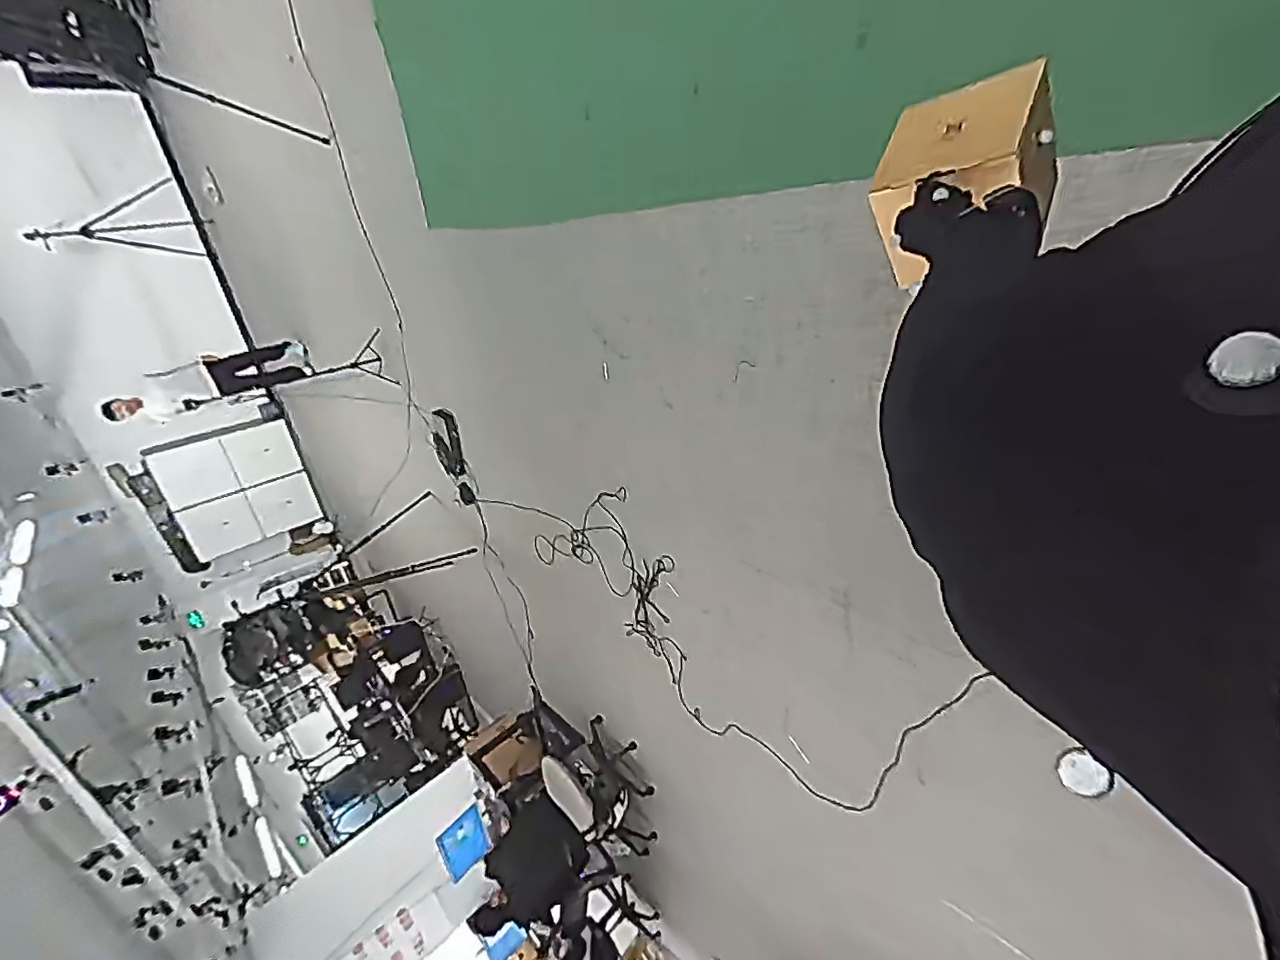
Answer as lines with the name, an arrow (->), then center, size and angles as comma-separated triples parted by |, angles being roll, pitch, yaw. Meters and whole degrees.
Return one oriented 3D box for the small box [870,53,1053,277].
small box -> 0.438, -0.406, 0.727 | 0.168, 0.179, 0.176 | 8, 155, 45
